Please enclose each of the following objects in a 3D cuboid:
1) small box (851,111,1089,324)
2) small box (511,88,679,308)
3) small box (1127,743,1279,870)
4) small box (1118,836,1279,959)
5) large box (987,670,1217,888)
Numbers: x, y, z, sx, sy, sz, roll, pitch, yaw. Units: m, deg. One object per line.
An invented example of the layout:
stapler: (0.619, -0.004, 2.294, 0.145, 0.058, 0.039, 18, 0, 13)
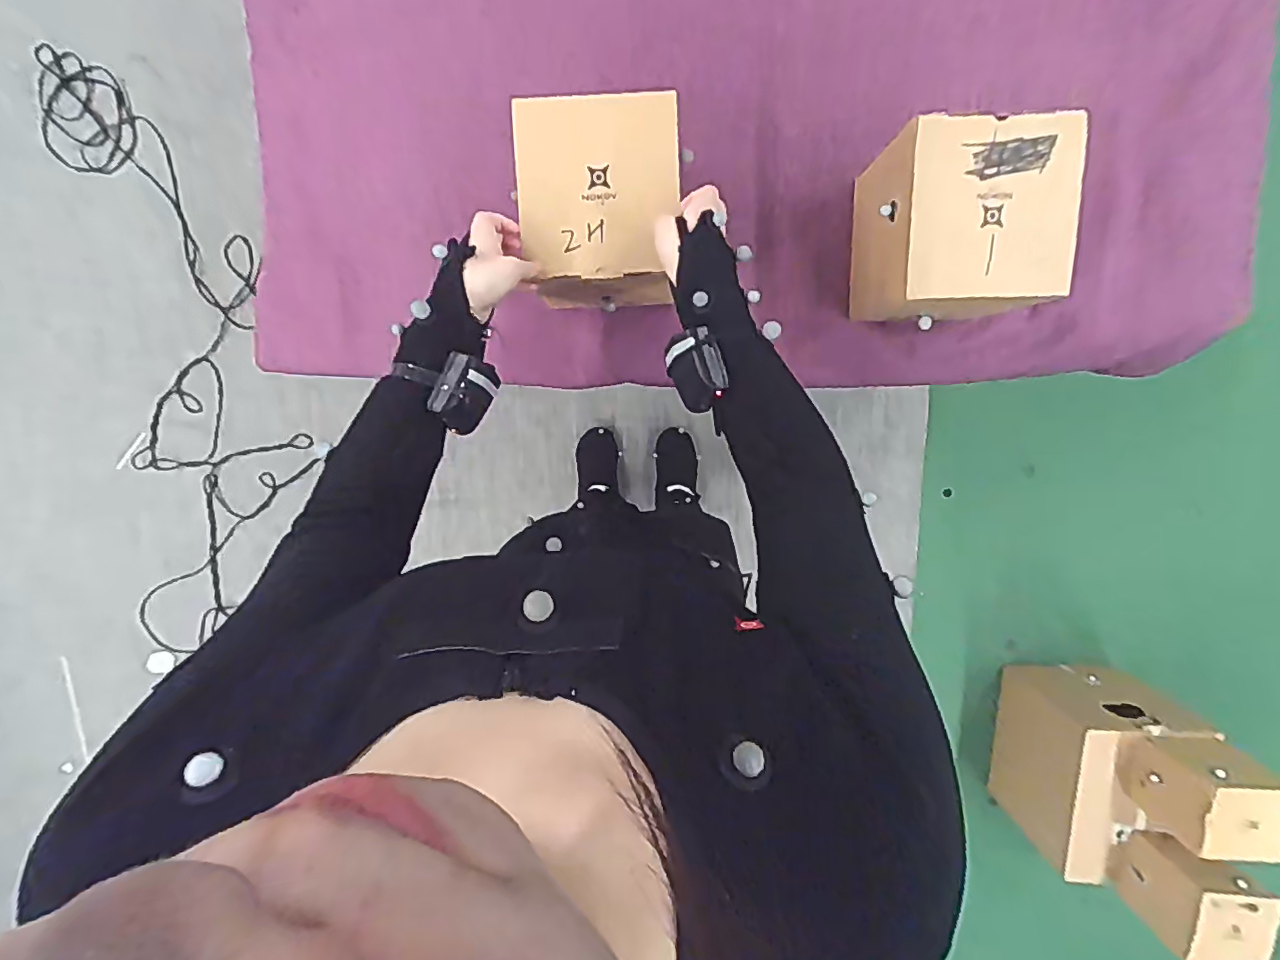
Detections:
small box: (0.350, -0.278, 0.609, 0.168, 0.176, 0.179, 0, 99, 2)
small box: (-0.043, -0.303, 0.615, 0.168, 0.176, 0.179, -2, 98, 1)
small box: (1.209, 0.686, 1.151, 0.179, 0.176, 0.168, 1, 99, 1)
small box: (1.210, 0.932, 1.187, 0.168, 0.176, 0.179, 6, 99, 0)
large box: (1.164, 0.753, 1.409, 0.320, 0.320, 0.408, 1, 100, 2)
